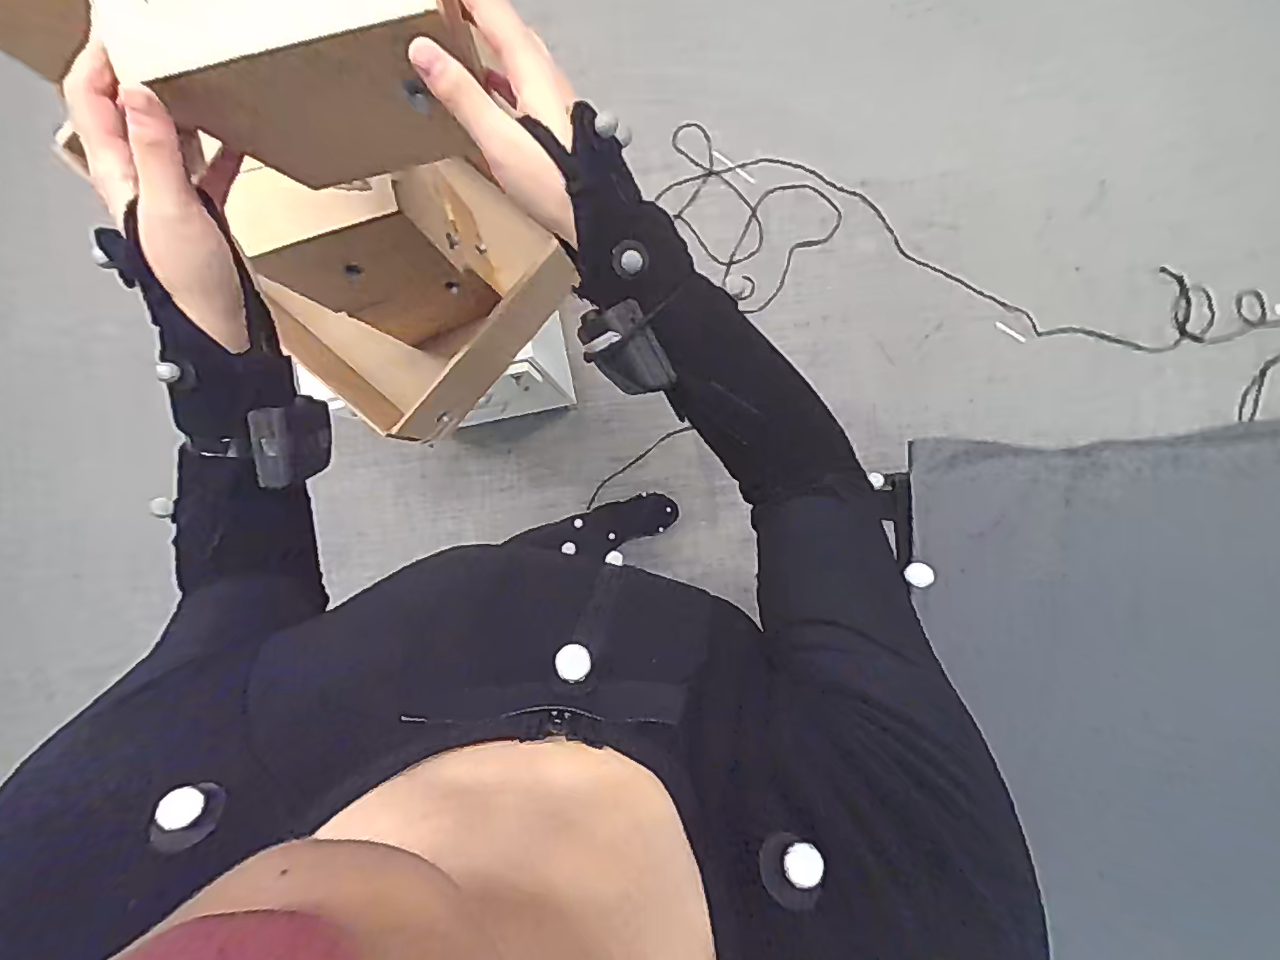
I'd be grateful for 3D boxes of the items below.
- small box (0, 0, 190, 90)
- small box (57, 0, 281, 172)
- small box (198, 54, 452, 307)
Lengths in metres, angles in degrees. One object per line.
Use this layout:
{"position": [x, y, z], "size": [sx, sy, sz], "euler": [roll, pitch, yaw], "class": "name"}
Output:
{"position": [-0.536, -0.493, 0.453], "size": [0.179, 0.176, 0.168], "euler": [-37, 90, 3], "class": "small box"}
{"position": [-0.549, -0.504, 0.618], "size": [0.168, 0.176, 0.179], "euler": [-33, 92, 3], "class": "small box"}
{"position": [-0.333, -0.318, 0.613], "size": [0.179, 0.176, 0.168], "euler": [-16, 89, 3], "class": "small box"}
